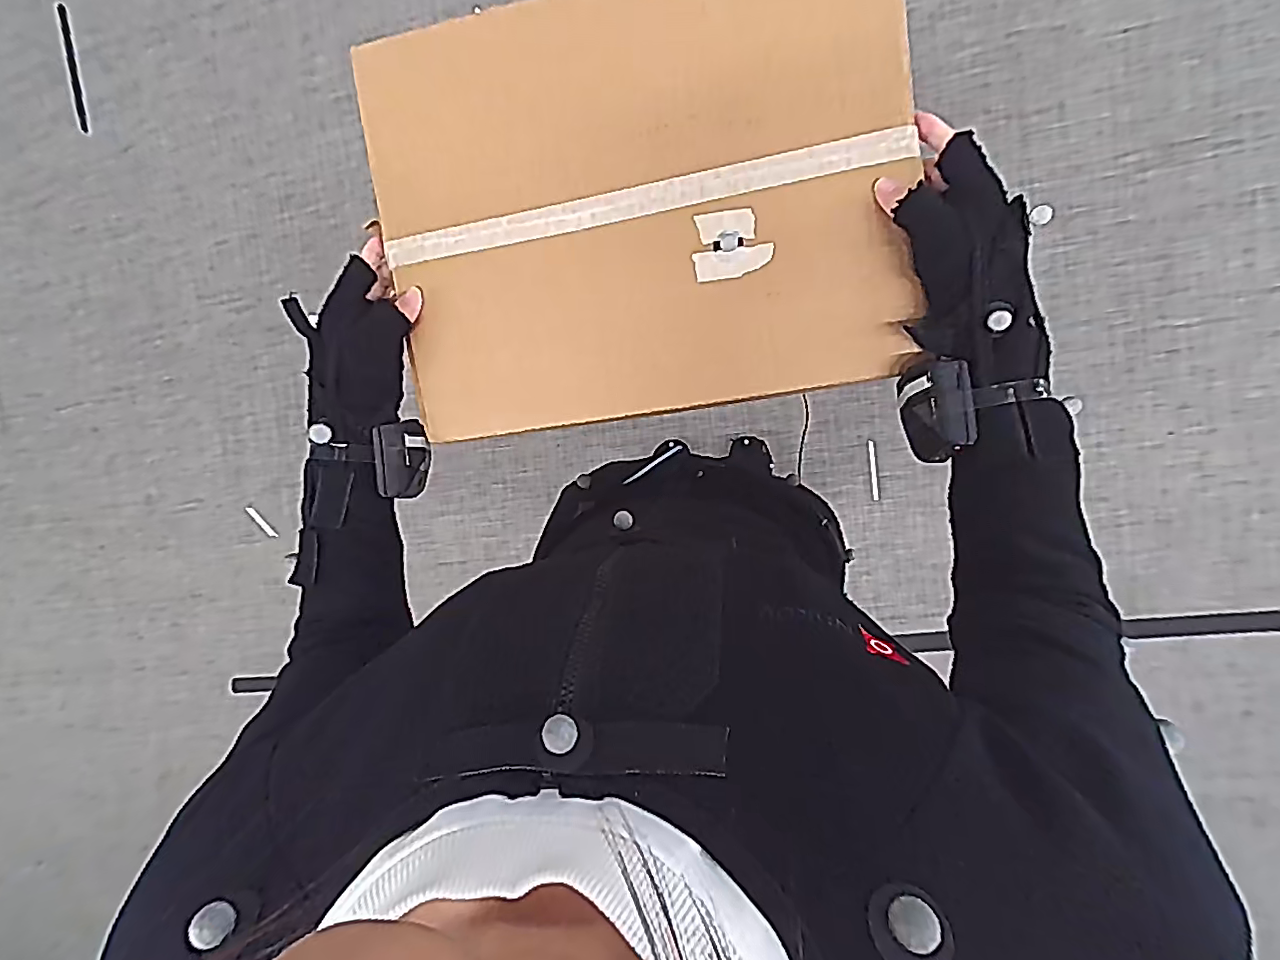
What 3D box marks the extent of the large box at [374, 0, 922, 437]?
[{"bbox_3d":[0.017,-0.233,0.570,0.408,0.320,0.320,-8,97,9],"label":"large box"}]
